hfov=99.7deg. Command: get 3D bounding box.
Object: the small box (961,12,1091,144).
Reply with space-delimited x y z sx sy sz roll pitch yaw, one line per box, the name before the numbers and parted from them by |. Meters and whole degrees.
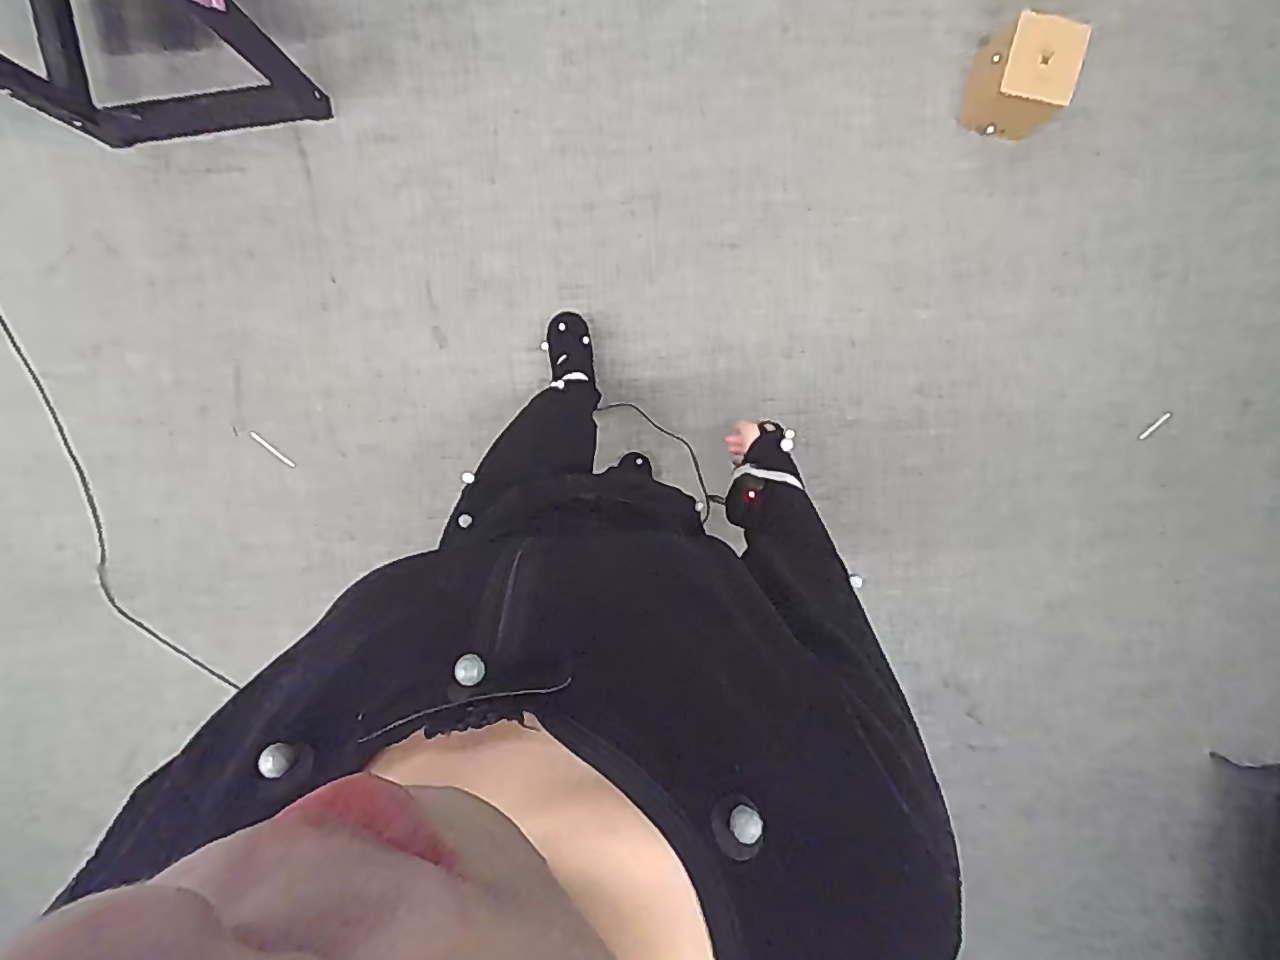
small box | 0.909 -0.950 1.293 0.168 0.176 0.179 13 98 -1
